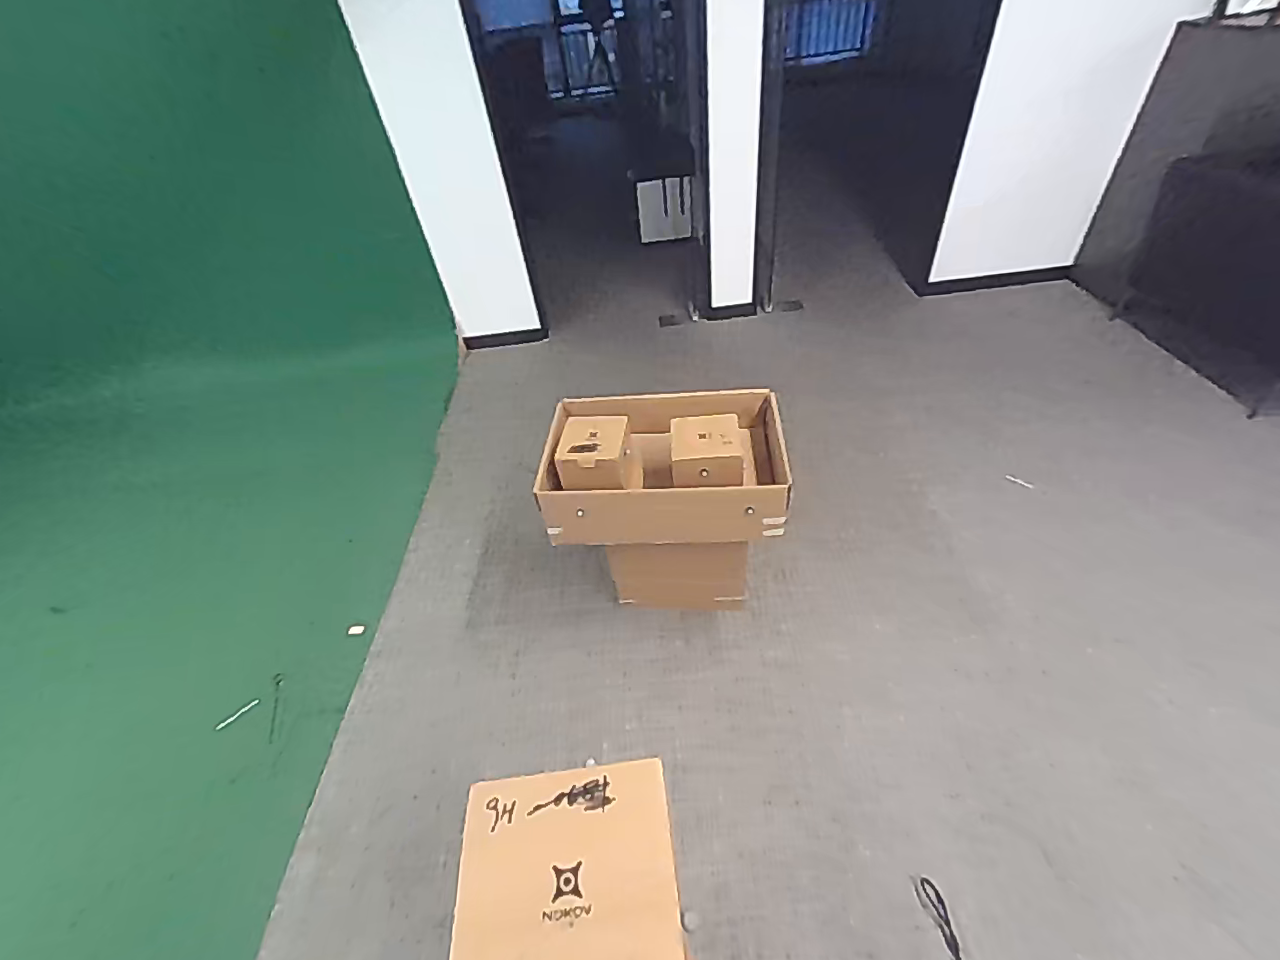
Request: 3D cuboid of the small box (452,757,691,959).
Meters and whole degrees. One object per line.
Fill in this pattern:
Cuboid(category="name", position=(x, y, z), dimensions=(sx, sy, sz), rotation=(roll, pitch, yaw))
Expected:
Cuboid(category="small box", position=(-0.046, 0.362, 0.457), dimensions=(0.168, 0.176, 0.179), rotation=(-7, 45, 0))
